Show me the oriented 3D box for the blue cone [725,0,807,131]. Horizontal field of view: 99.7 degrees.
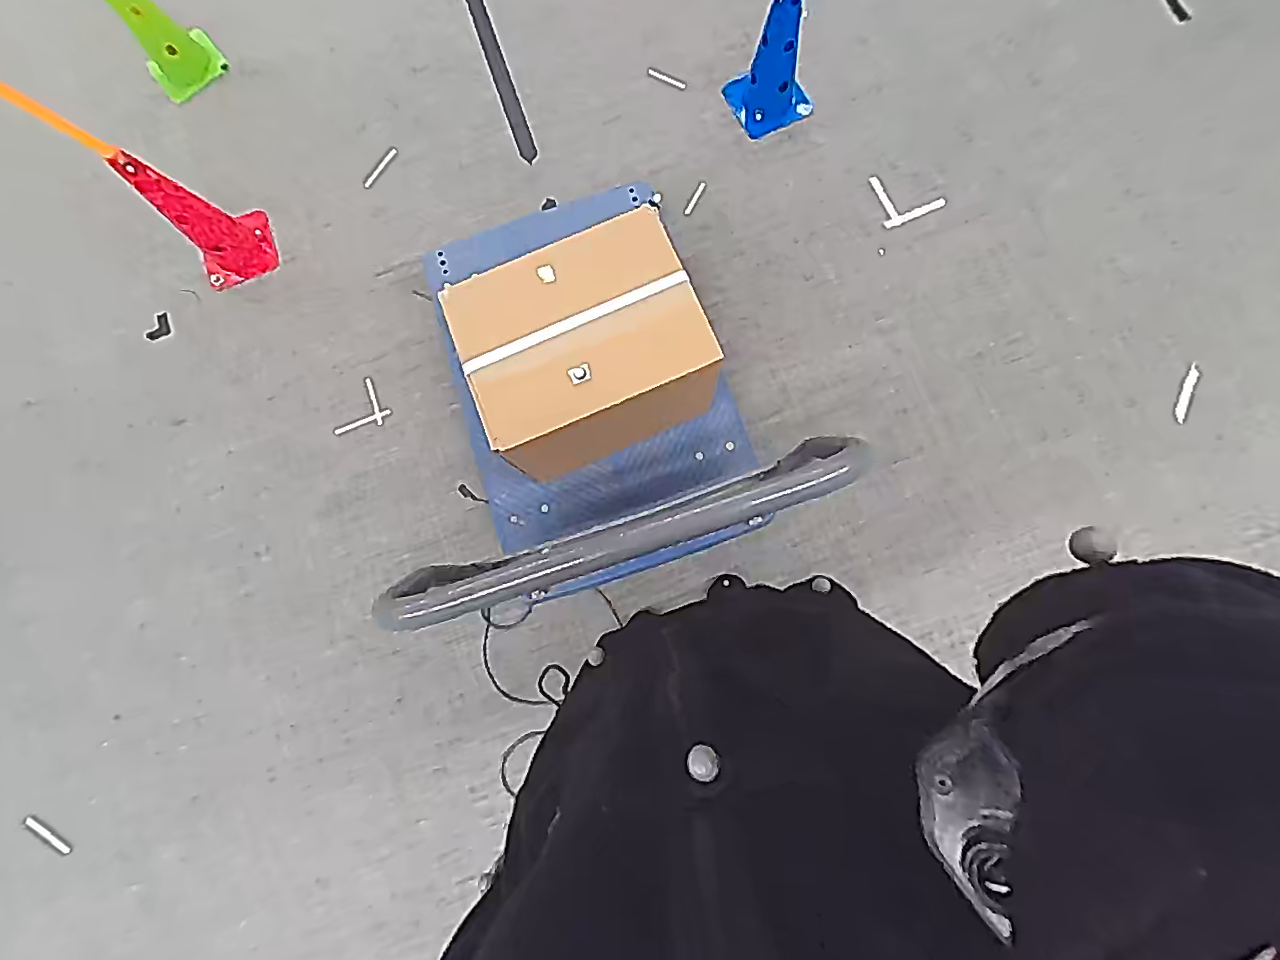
[{"bbox_3d":[0.347,-1.106,1.355,0.193,0.380,0.192,-24,78,-2],"label":"blue cone"}]
